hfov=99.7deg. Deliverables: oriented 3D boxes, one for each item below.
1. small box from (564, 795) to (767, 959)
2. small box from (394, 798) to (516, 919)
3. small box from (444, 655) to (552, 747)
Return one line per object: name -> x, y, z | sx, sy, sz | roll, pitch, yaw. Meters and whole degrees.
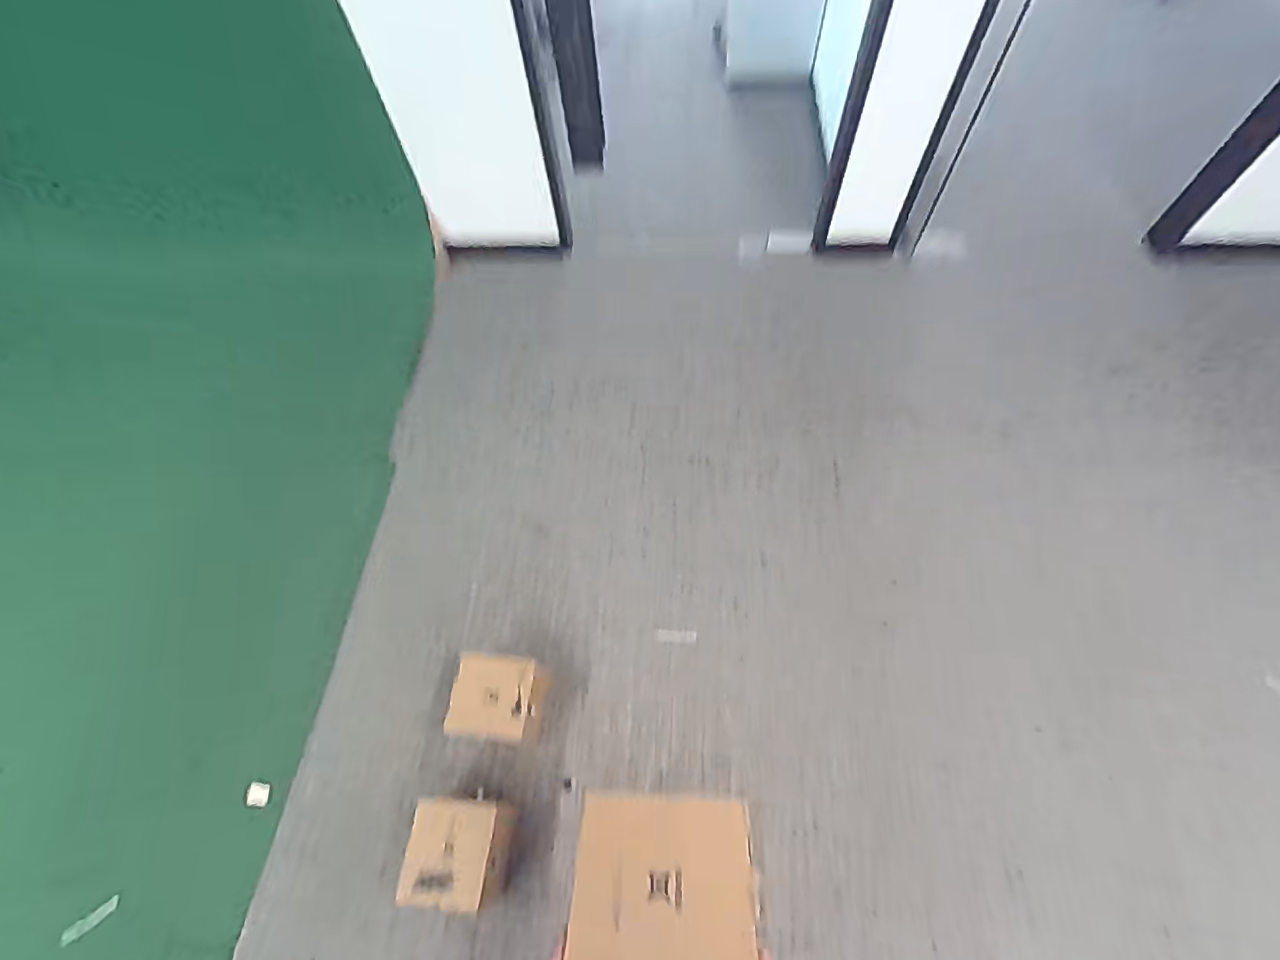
small box -> 0.029, 0.449, 0.547 | 0.179, 0.176, 0.168 | 0, 36, 6
small box -> -0.366, 0.764, 1.110 | 0.168, 0.176, 0.179 | 4, 60, 5
small box -> -0.318, 0.514, 1.249 | 0.179, 0.176, 0.168 | 4, 61, 7
